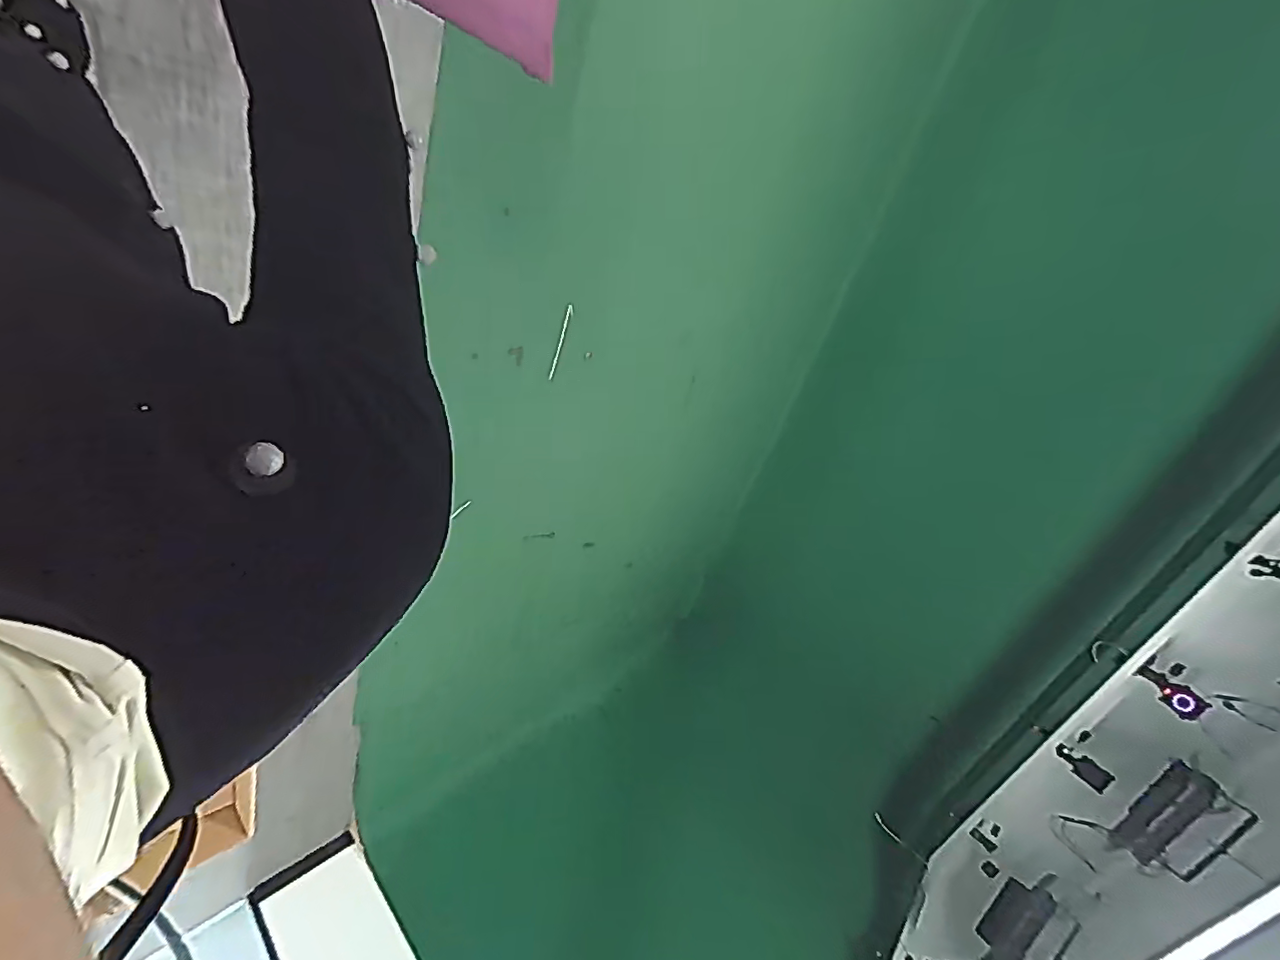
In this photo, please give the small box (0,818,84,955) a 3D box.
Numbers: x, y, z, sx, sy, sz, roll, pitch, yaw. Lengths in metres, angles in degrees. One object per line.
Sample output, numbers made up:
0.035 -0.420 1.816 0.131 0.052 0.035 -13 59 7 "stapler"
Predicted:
-1.403 0.928 1.237 0.168 0.176 0.179 -9 127 -49 "small box"
